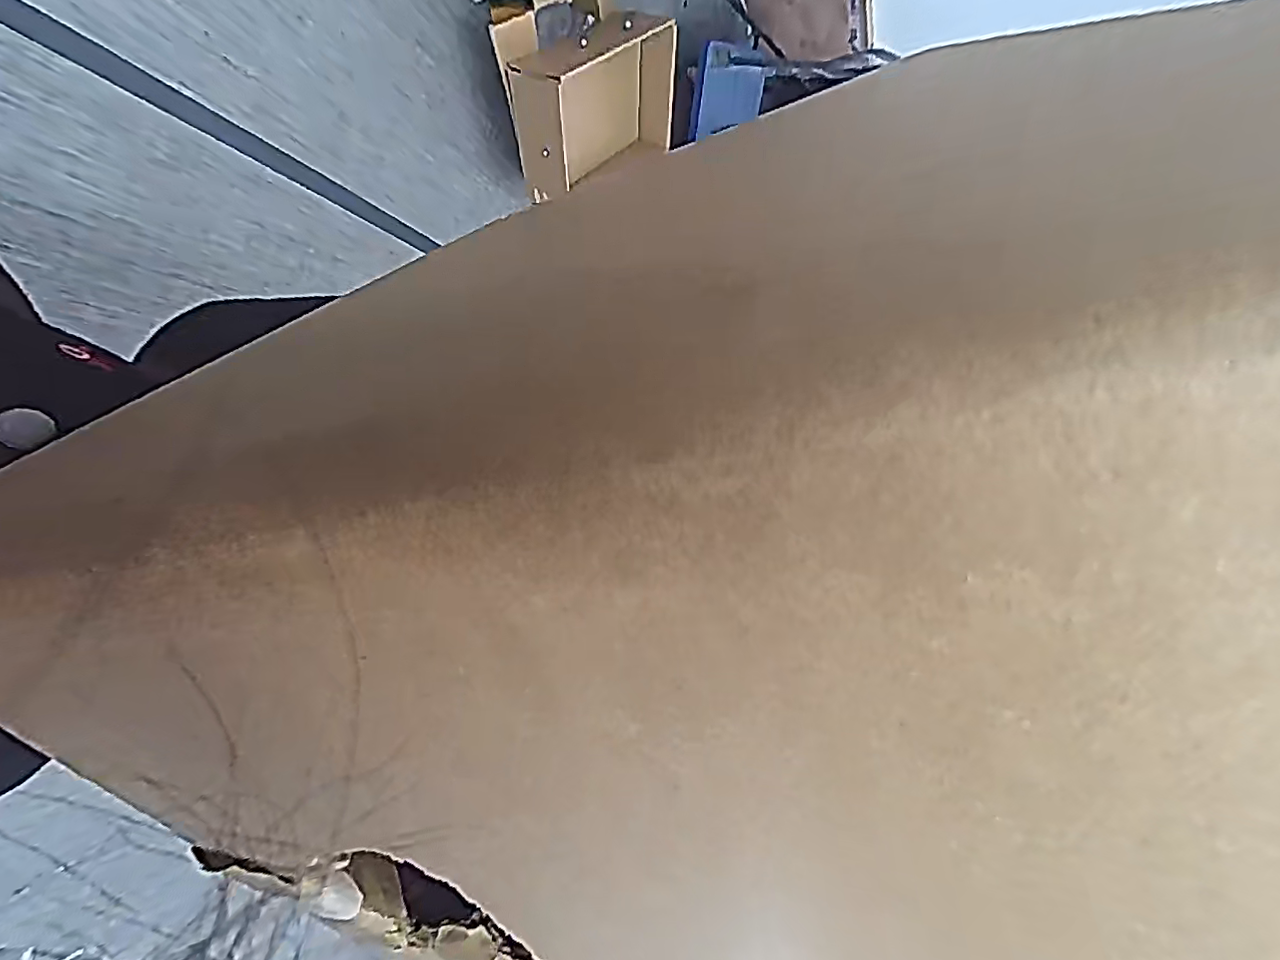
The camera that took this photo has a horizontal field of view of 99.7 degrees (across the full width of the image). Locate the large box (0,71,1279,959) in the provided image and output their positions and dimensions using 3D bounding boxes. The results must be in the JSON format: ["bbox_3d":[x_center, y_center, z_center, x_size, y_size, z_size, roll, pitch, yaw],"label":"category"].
[{"bbox_3d":[0.039,0.010,0.312,0.408,0.320,0.320,-71,146,-52],"label":"large box"}]
